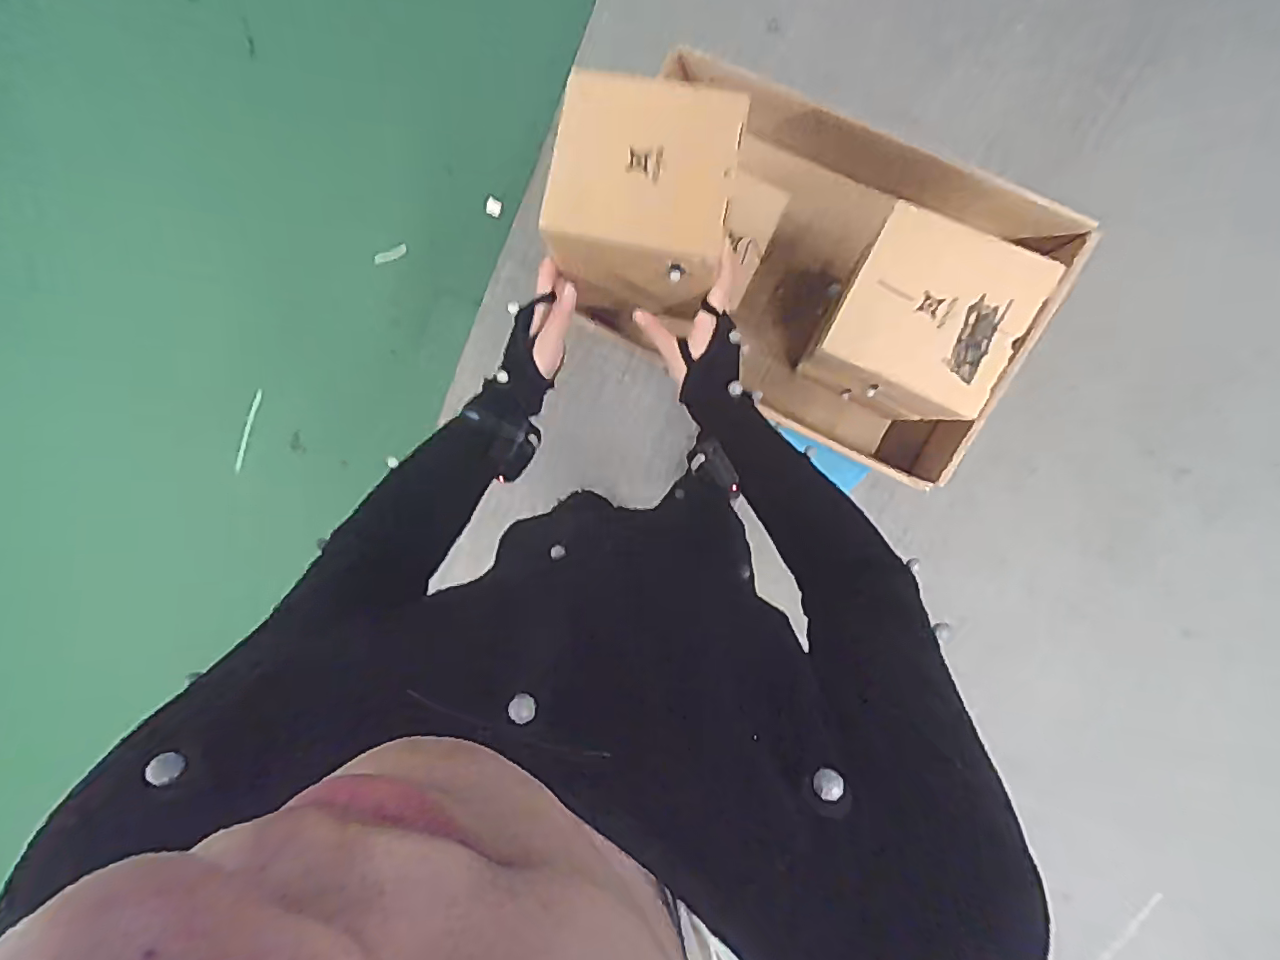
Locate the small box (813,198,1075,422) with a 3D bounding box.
[{"bbox_3d":[0.320,-0.179,0.615,0.179,0.176,0.168,28,101,8],"label":"small box"}]

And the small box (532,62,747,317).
[{"bbox_3d":[0.003,-0.290,0.575,0.179,0.176,0.168,10,86,3],"label":"small box"}]
